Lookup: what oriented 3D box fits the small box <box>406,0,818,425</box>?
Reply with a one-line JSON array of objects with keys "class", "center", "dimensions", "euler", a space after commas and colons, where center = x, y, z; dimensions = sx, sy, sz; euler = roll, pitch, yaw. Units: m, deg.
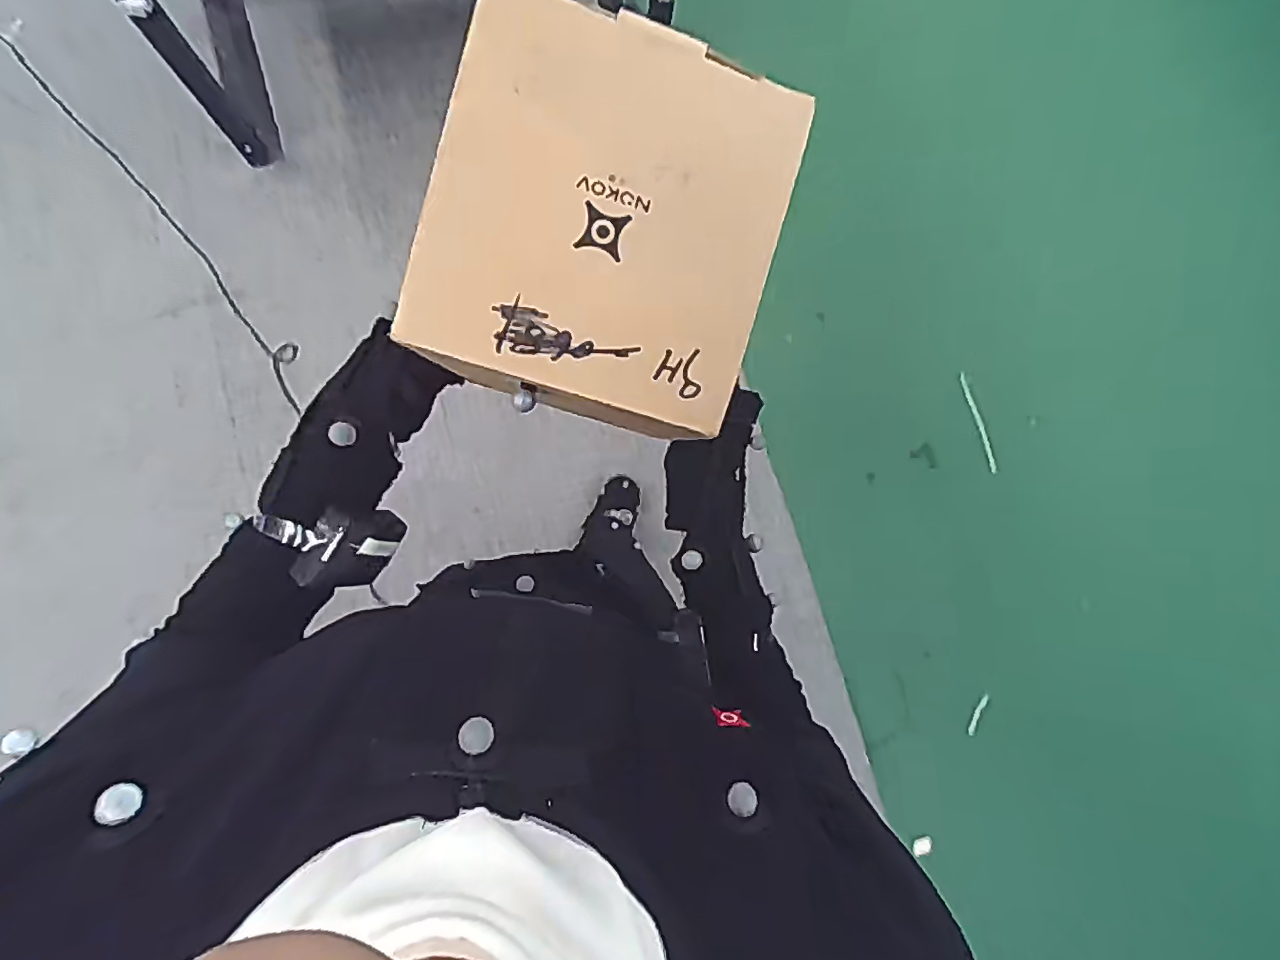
[{"class": "small box", "center": [-0.019, -0.142, 0.341], "dimensions": [0.168, 0.176, 0.179], "euler": [16, 92, -7]}]
